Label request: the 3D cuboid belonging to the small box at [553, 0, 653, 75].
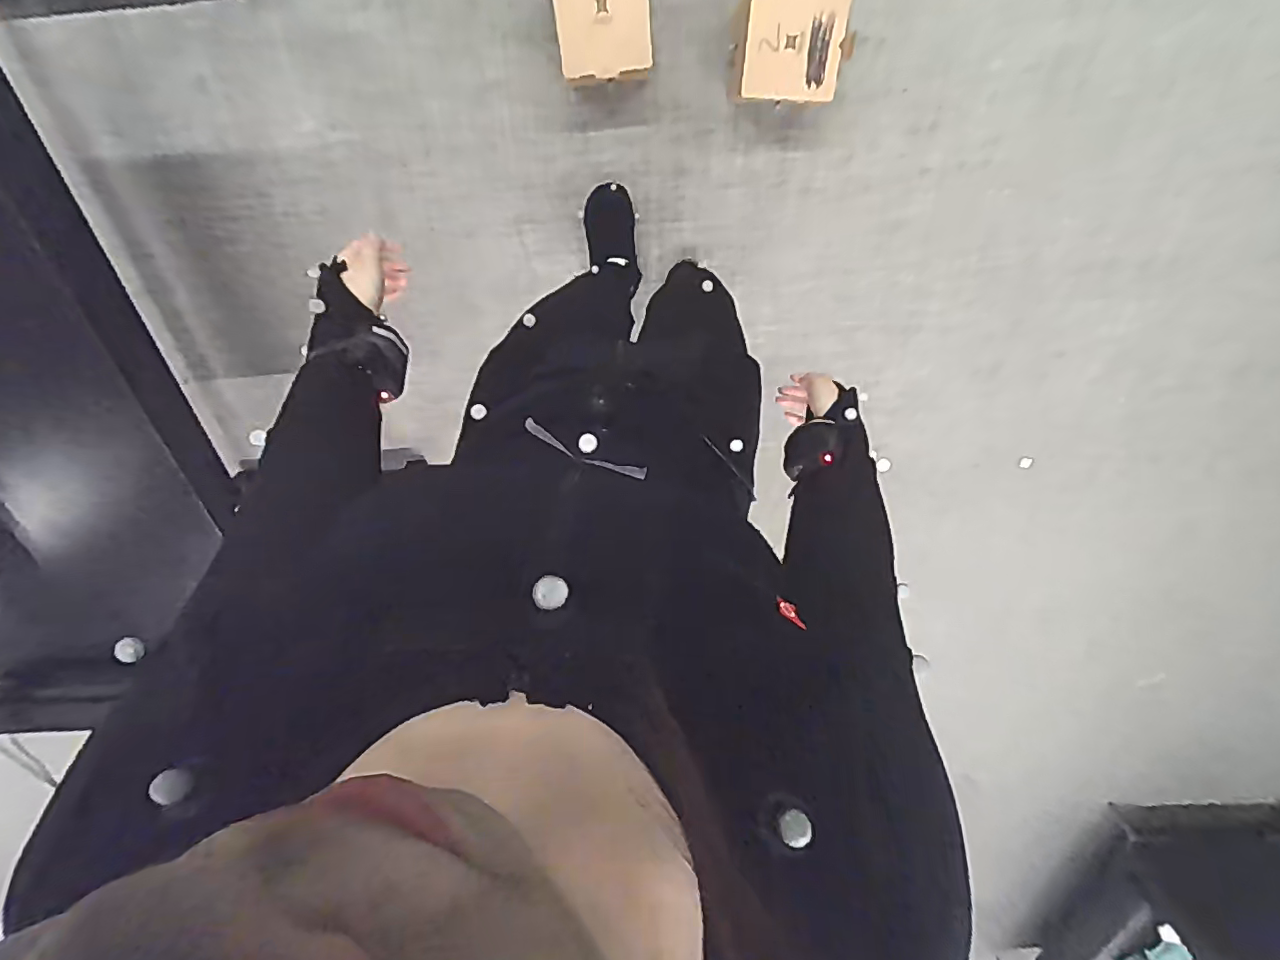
[{"bbox_3d":[-0.062,-0.849,0.980,0.168,0.176,0.179,-4,124,3],"label":"small box"}]
